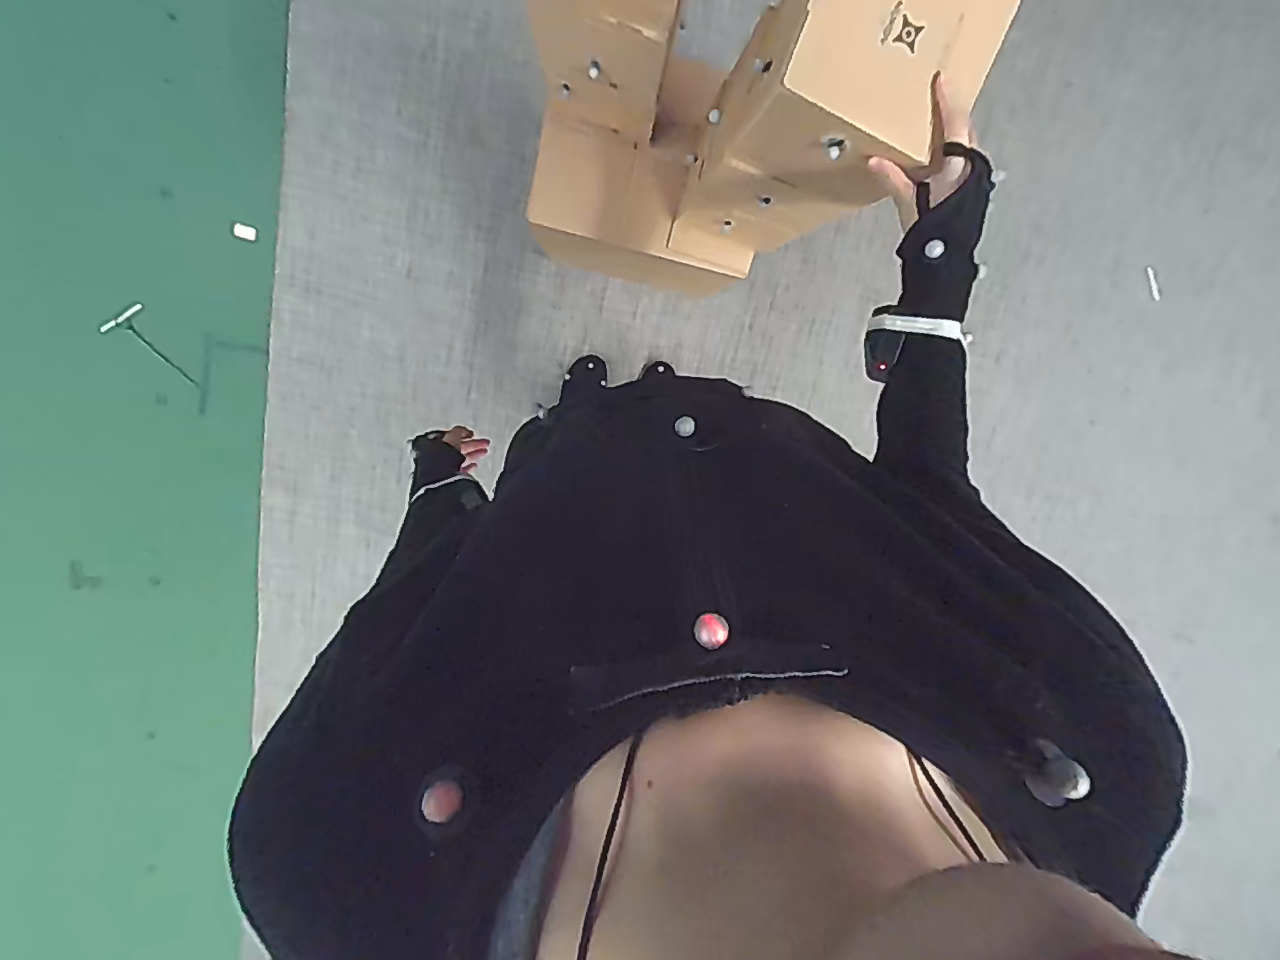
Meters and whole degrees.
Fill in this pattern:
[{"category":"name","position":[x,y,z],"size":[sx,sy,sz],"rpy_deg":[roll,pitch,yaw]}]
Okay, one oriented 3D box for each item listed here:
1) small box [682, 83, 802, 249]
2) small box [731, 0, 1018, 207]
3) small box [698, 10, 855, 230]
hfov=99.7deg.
[{"category":"small box","position":[0.175,-0.482,0.861],"size":[0.179,0.176,0.168],"rpy_deg":[14,104,-7]},{"category":"small box","position":[0.214,-0.402,0.543],"size":[0.179,0.176,0.168],"rpy_deg":[20,101,-12]},{"category":"small box","position":[0.192,-0.443,0.702],"size":[0.179,0.176,0.168],"rpy_deg":[15,102,-8]}]
